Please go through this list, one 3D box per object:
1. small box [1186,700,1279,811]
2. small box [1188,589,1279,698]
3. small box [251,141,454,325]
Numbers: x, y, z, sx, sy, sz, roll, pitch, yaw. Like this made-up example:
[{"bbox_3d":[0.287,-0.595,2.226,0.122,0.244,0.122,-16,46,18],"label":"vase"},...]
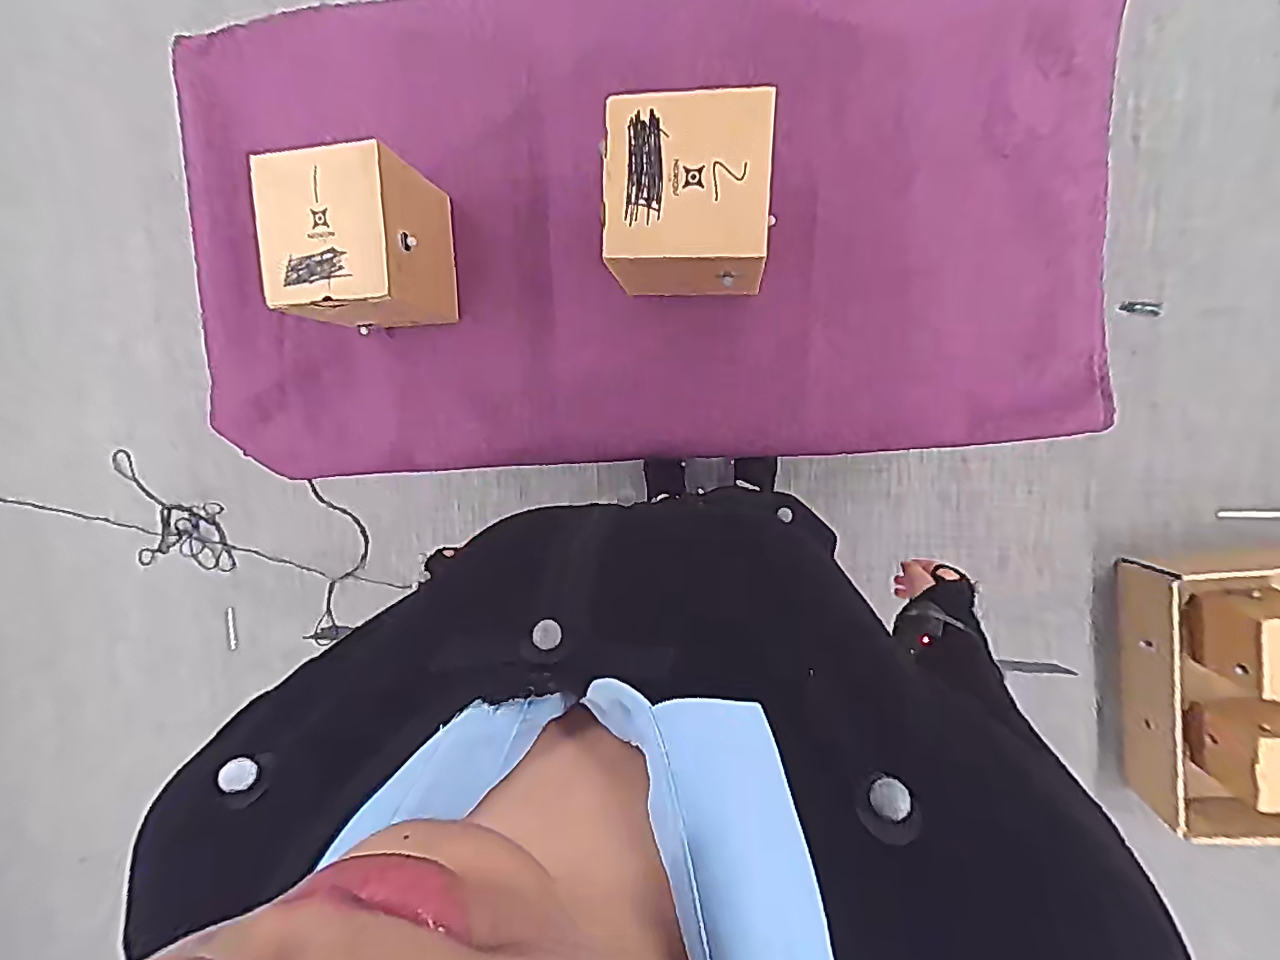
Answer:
[{"bbox_3d":[1.400,0.612,1.217,0.179,0.176,0.168,-6,94,10],"label":"small box"},{"bbox_3d":[1.370,0.355,1.192,0.168,0.176,0.179,-7,96,9],"label":"small box"},{"bbox_3d":[-0.359,-0.304,0.707,0.168,0.176,0.179,-1,96,9],"label":"small box"}]
